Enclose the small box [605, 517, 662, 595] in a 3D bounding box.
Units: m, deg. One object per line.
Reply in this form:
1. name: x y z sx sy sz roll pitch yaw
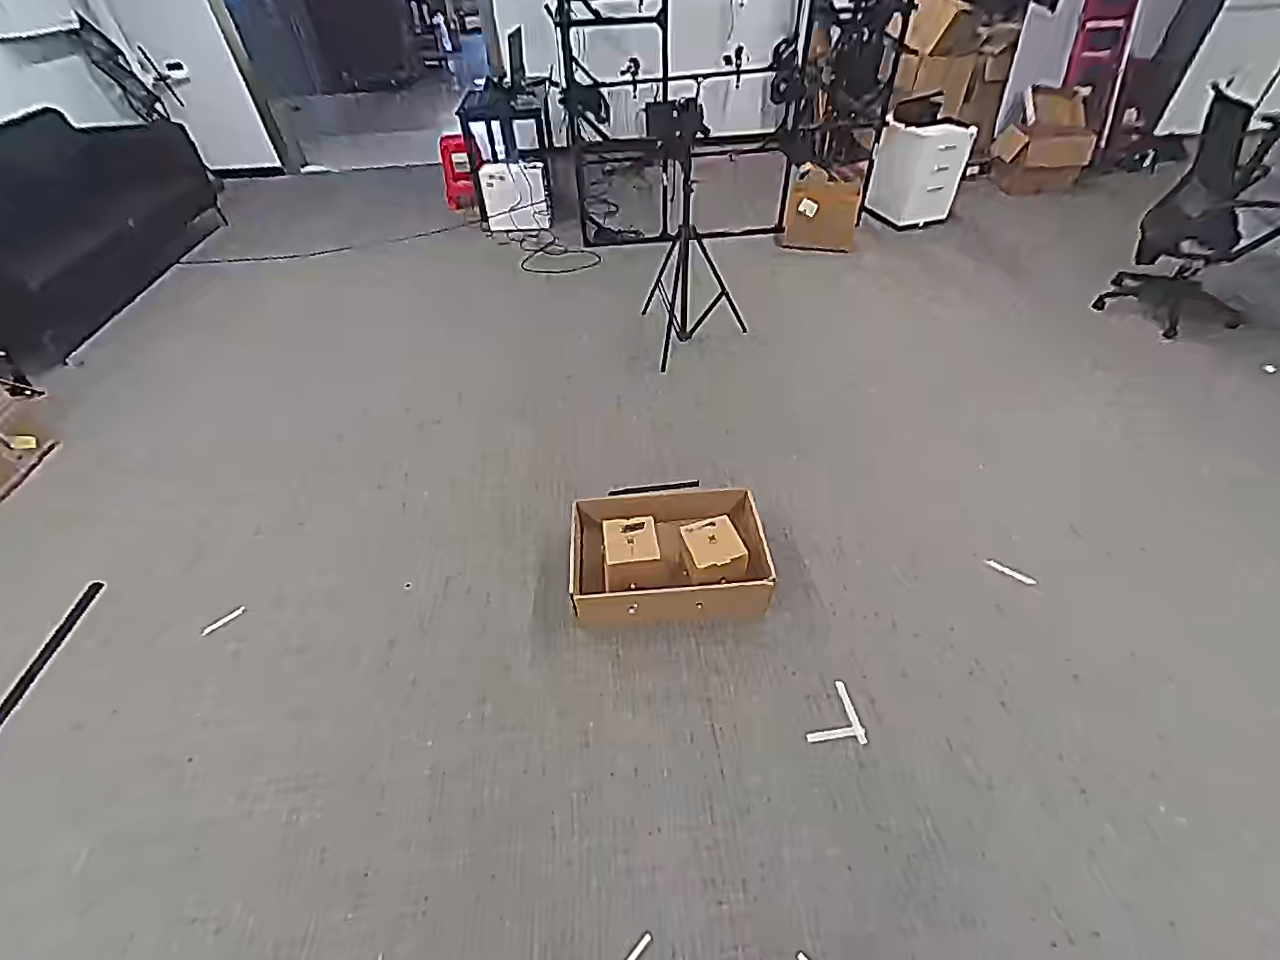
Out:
1. small box: -0.023 0.245 1.740 0.168 0.176 0.179 -6 45 -4
